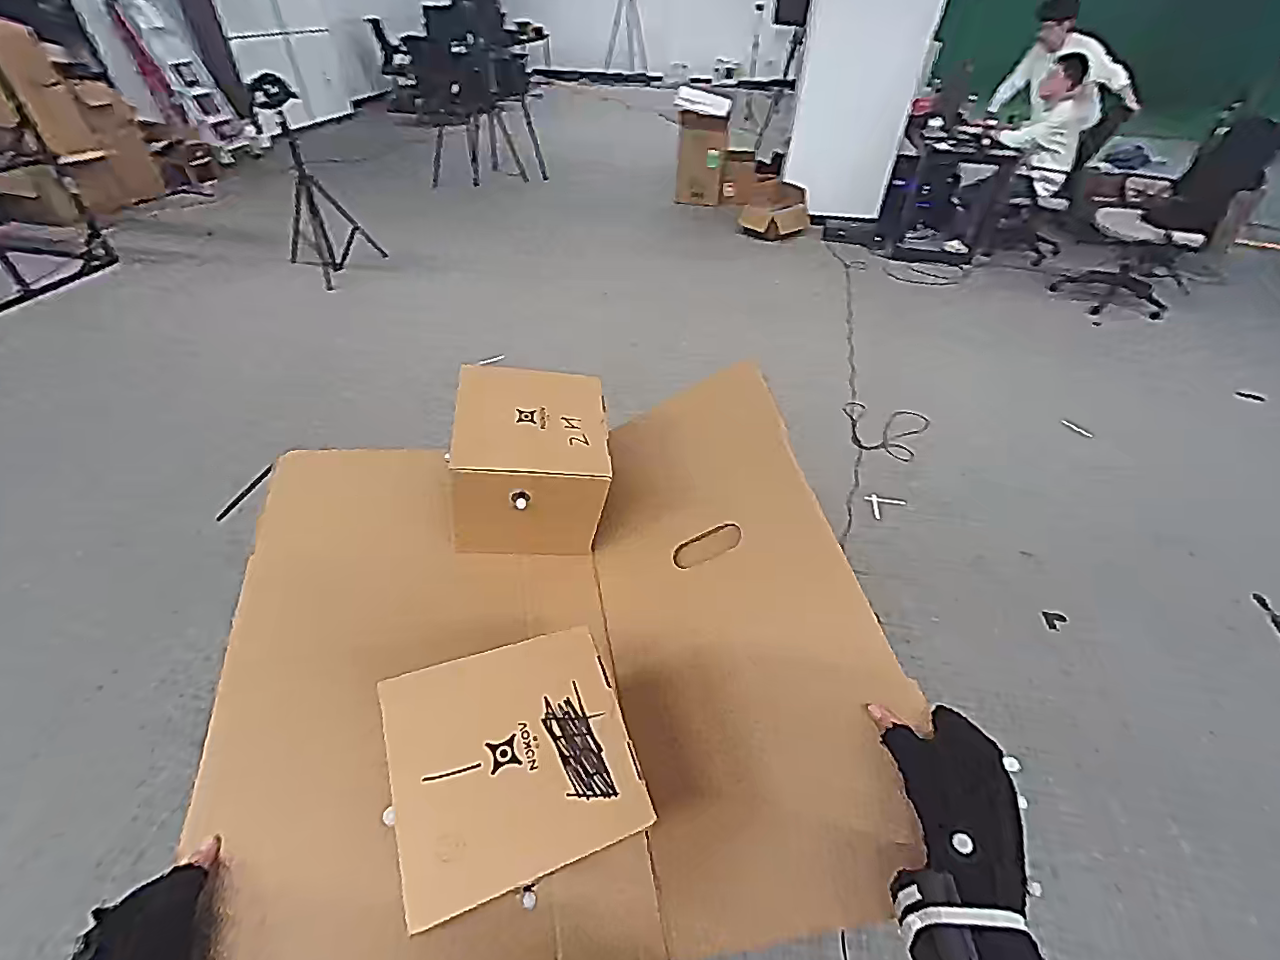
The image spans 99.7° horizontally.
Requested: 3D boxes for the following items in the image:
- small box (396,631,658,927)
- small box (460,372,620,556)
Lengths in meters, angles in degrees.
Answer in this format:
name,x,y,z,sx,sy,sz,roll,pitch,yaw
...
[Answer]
name,x,y,z,sx,sy,sz,roll,pitch,yaw
small box,-0.109,0.260,0.482,0.179,0.176,0.168,-9,55,-22
small box,-0.131,-0.014,0.698,0.179,0.176,0.168,5,51,-14
